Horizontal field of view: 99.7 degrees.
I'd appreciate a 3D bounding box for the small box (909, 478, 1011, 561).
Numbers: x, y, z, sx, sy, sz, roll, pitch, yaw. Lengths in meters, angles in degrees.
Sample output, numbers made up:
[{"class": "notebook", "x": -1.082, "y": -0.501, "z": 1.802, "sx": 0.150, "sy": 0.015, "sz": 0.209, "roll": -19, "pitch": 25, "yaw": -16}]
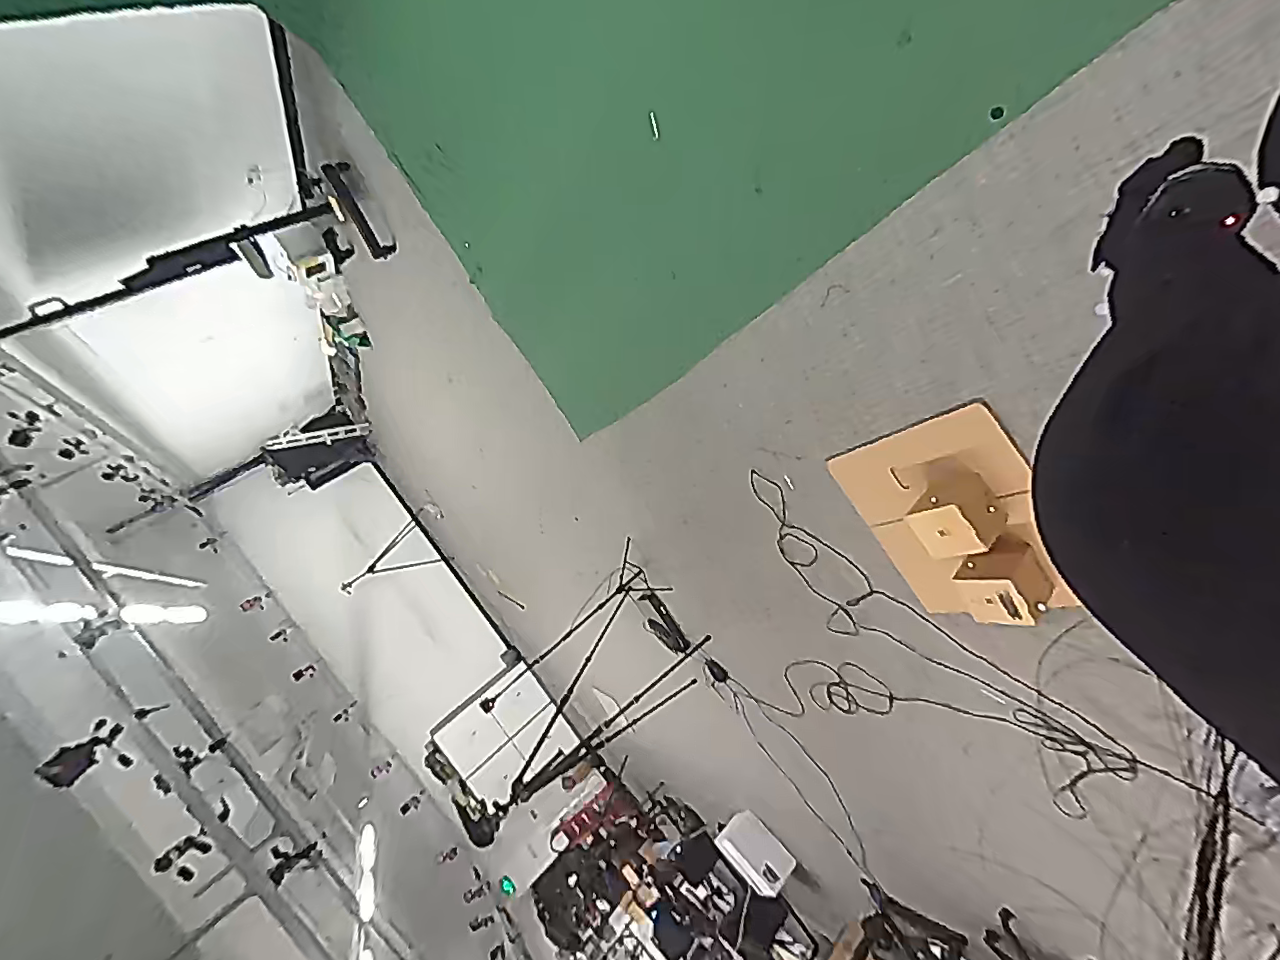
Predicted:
[{"class": "small box", "x": 0.959, "y": 0.118, "z": 1.619, "sx": 0.168, "sy": 0.176, "sz": 0.179, "roll": 54, "pitch": 150, "yaw": 0}]
